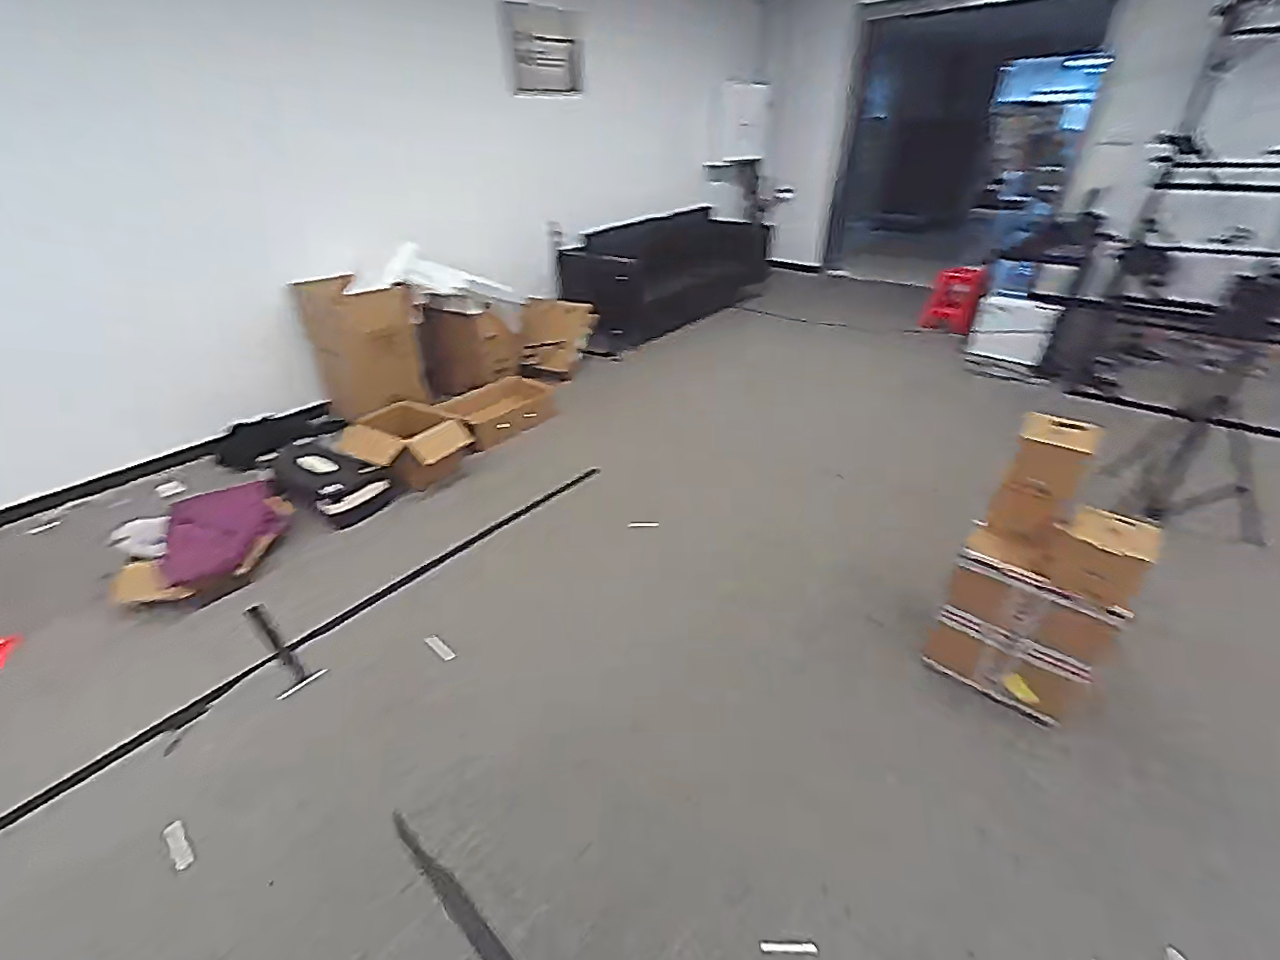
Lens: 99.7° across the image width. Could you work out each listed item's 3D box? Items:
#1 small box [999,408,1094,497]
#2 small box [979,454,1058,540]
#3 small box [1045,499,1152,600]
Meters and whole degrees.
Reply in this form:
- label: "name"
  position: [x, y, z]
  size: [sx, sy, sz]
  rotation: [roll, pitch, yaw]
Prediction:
- label: "small box"
  position: [1.147, -0.080, 1.533]
  size: [0.168, 0.176, 0.179]
  rotation: [22, 43, 35]
- label: "small box"
  position: [1.149, 0.051, 1.634]
  size: [0.168, 0.176, 0.179]
  rotation: [19, 41, 32]
- label: "small box"
  position: [1.206, 0.184, 1.430]
  size: [0.168, 0.176, 0.179]
  rotation: [25, 44, 33]
